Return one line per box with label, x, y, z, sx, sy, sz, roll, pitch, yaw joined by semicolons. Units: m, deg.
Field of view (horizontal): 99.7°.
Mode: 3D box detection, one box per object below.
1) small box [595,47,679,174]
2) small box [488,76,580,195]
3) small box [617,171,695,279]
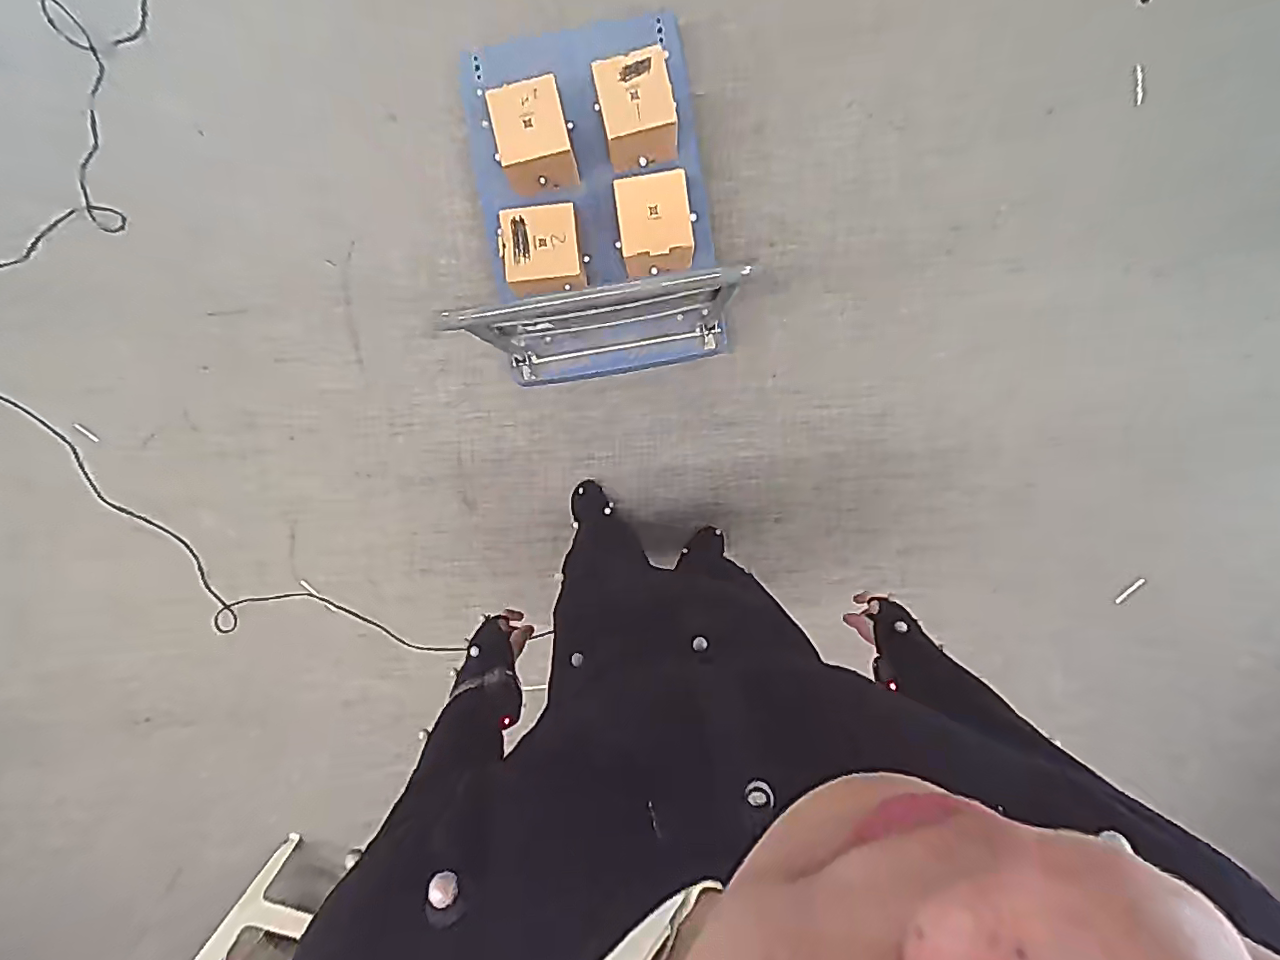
small box;-0.004;-0.879;1.302;0.168;0.176;0.179;-12;93;4
small box;-0.249;-0.823;1.316;0.168;0.176;0.179;-12;92;2
small box;0.038;-0.612;1.315;0.168;0.176;0.179;-8;93;3
